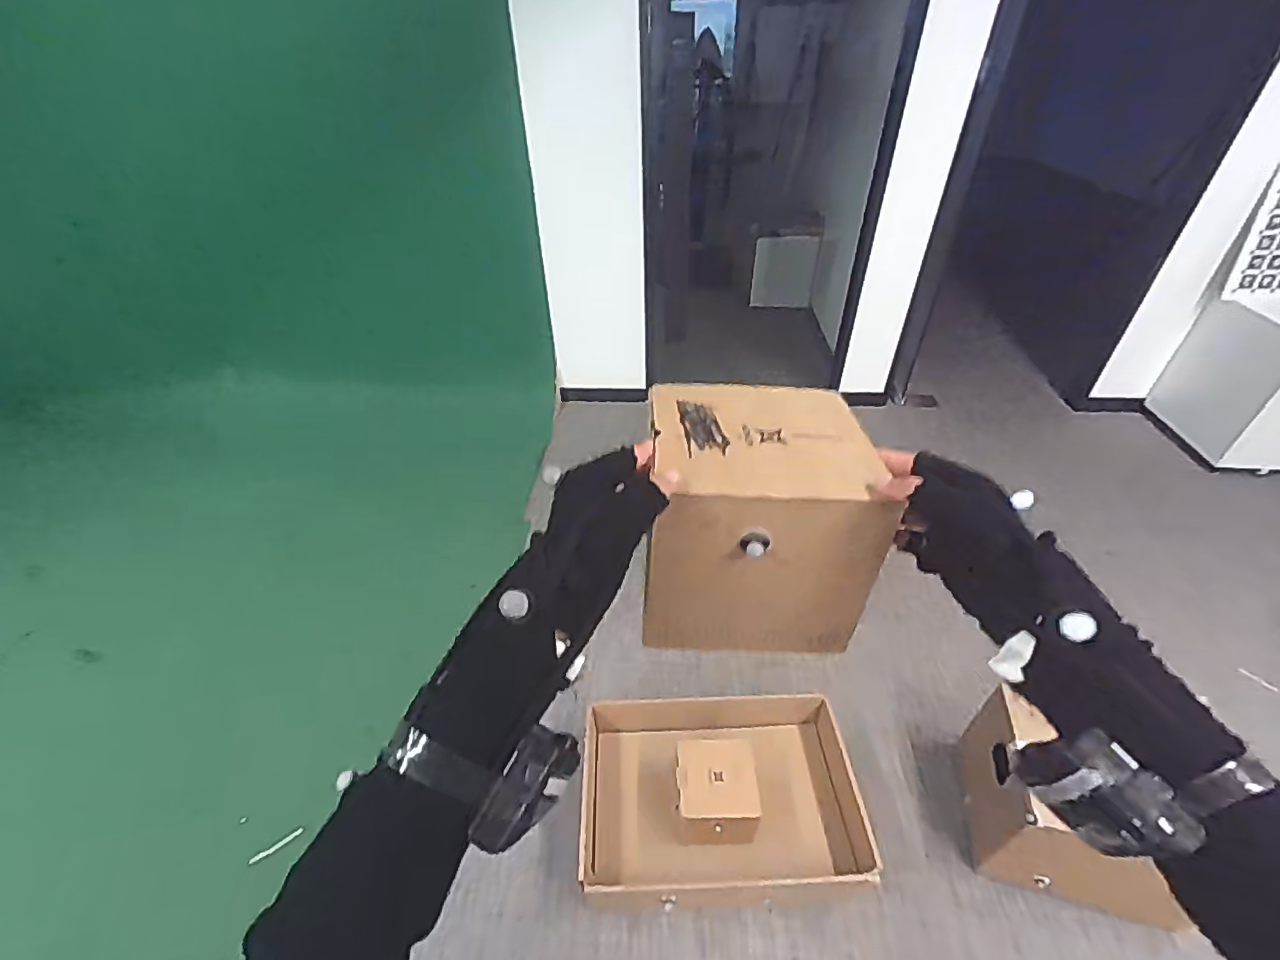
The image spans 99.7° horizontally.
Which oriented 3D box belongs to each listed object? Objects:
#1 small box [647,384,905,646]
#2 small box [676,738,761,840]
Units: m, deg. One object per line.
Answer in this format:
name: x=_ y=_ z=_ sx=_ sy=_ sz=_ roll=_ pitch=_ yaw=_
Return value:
small box: x=0.096 y=0.029 z=0.479 sx=0.179 sy=0.176 sz=0.168 roll=2 pitch=36 yaw=-1
small box: x=0.174 y=0.726 z=1.267 sx=0.179 sy=0.176 sz=0.168 roll=0 pitch=40 yaw=-1
